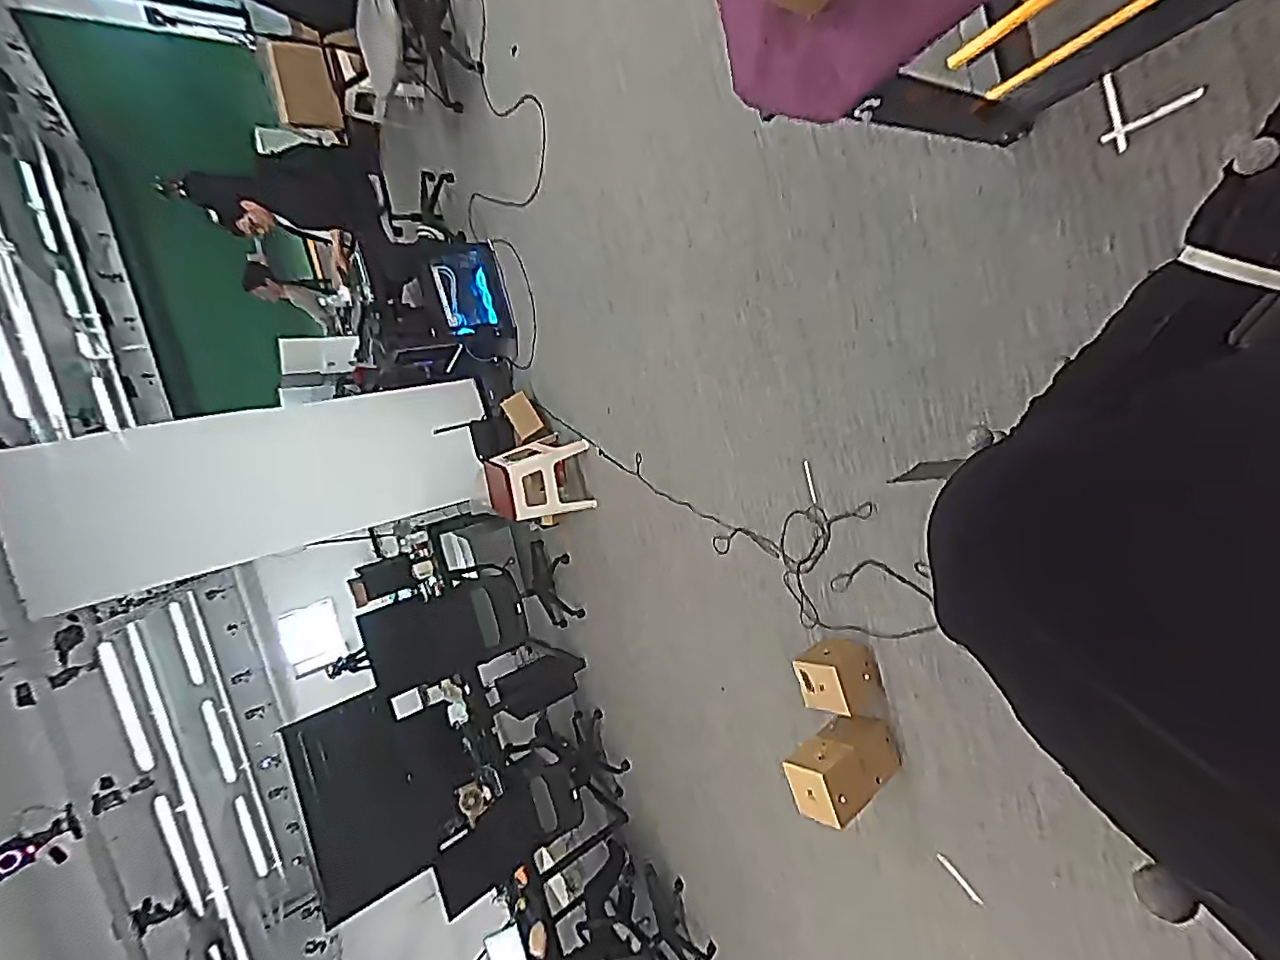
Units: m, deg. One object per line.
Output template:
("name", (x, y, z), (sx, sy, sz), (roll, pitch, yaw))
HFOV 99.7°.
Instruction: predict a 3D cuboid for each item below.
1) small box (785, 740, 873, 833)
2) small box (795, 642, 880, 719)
("small box", (0.591, 0.946, 1.689), (0.168, 0.176, 0.179), (-23, 86, 58))
("small box", (0.644, 0.645, 1.764), (0.179, 0.176, 0.168), (-17, 92, 57))
